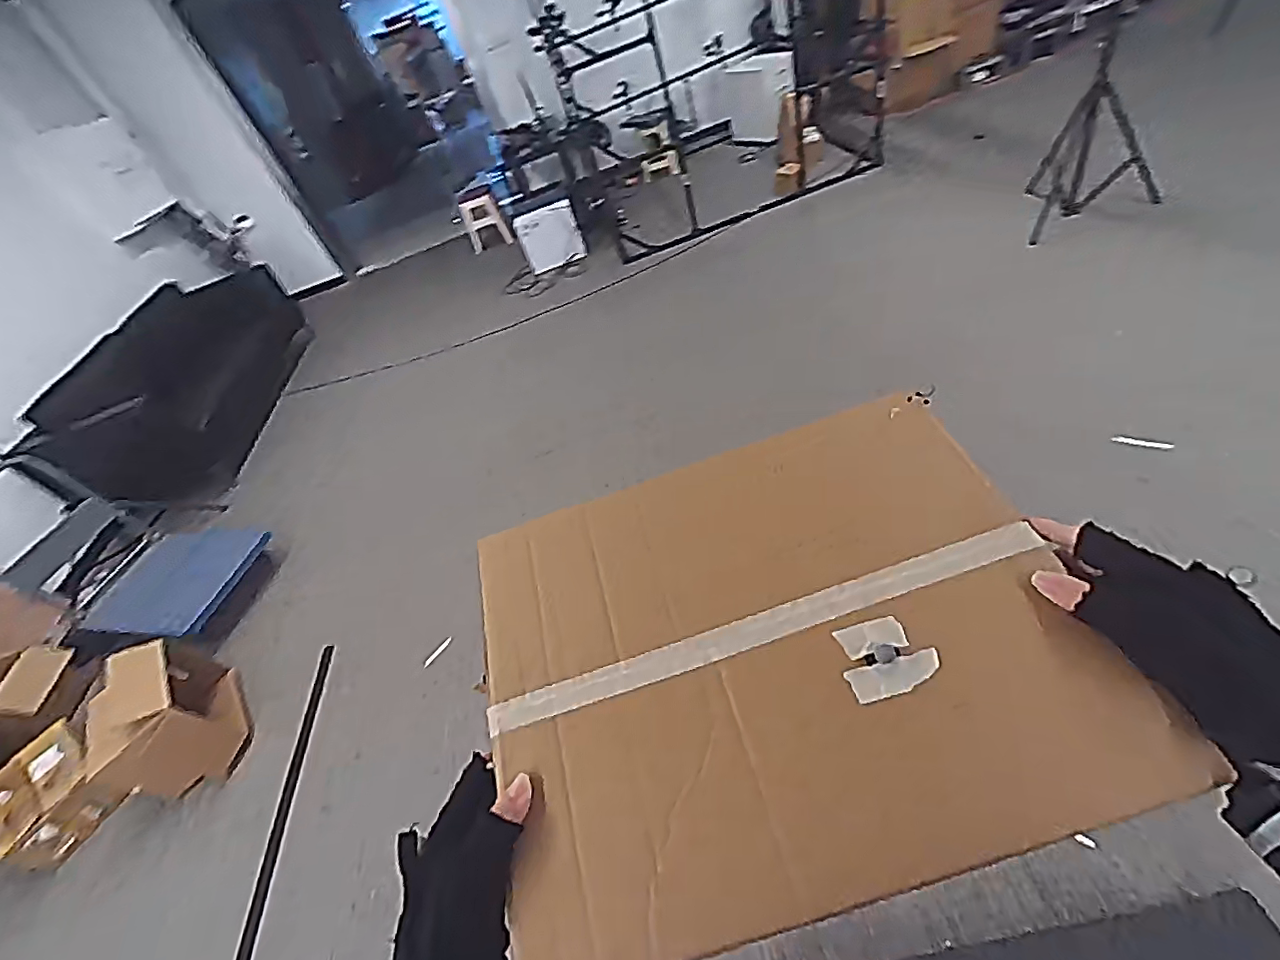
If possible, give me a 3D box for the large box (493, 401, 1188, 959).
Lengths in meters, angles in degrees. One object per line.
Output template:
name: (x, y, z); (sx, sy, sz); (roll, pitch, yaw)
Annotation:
large box: (0.120, 0.193, 0.517); (0.408, 0.320, 0.320); (-19, 54, 1)
